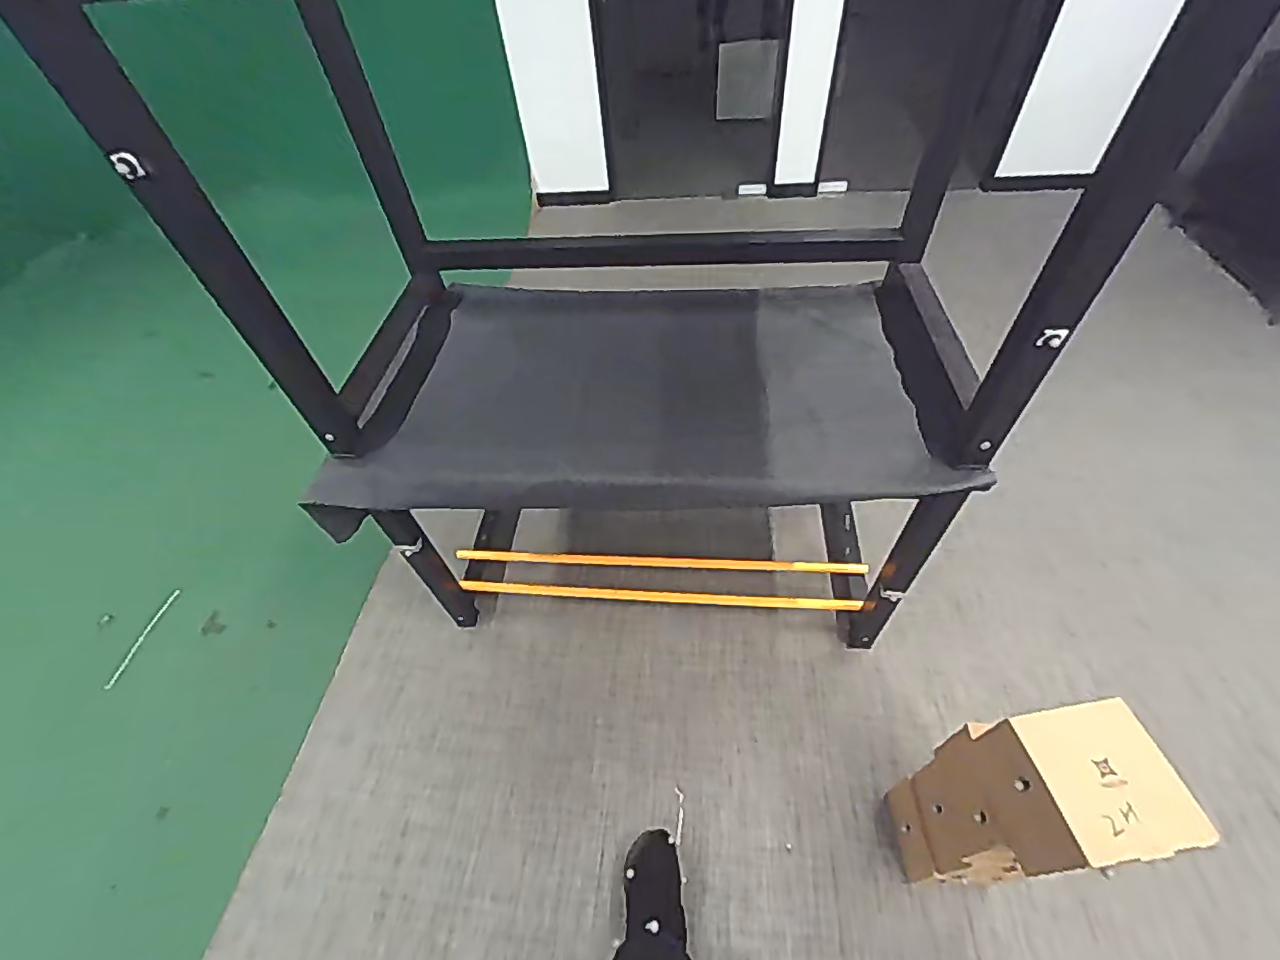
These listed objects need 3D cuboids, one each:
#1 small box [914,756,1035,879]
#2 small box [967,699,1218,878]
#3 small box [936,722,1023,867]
[{"bbox_3d":[0.638,0.627,1.006,0.168,0.176,0.179,-1,49,5],"label":"small box"},{"bbox_3d":[0.598,0.429,0.750,0.168,0.176,0.179,-9,51,-1],"label":"small box"},{"bbox_3d":[0.613,0.518,0.887,0.168,0.176,0.179,1,51,7],"label":"small box"}]
